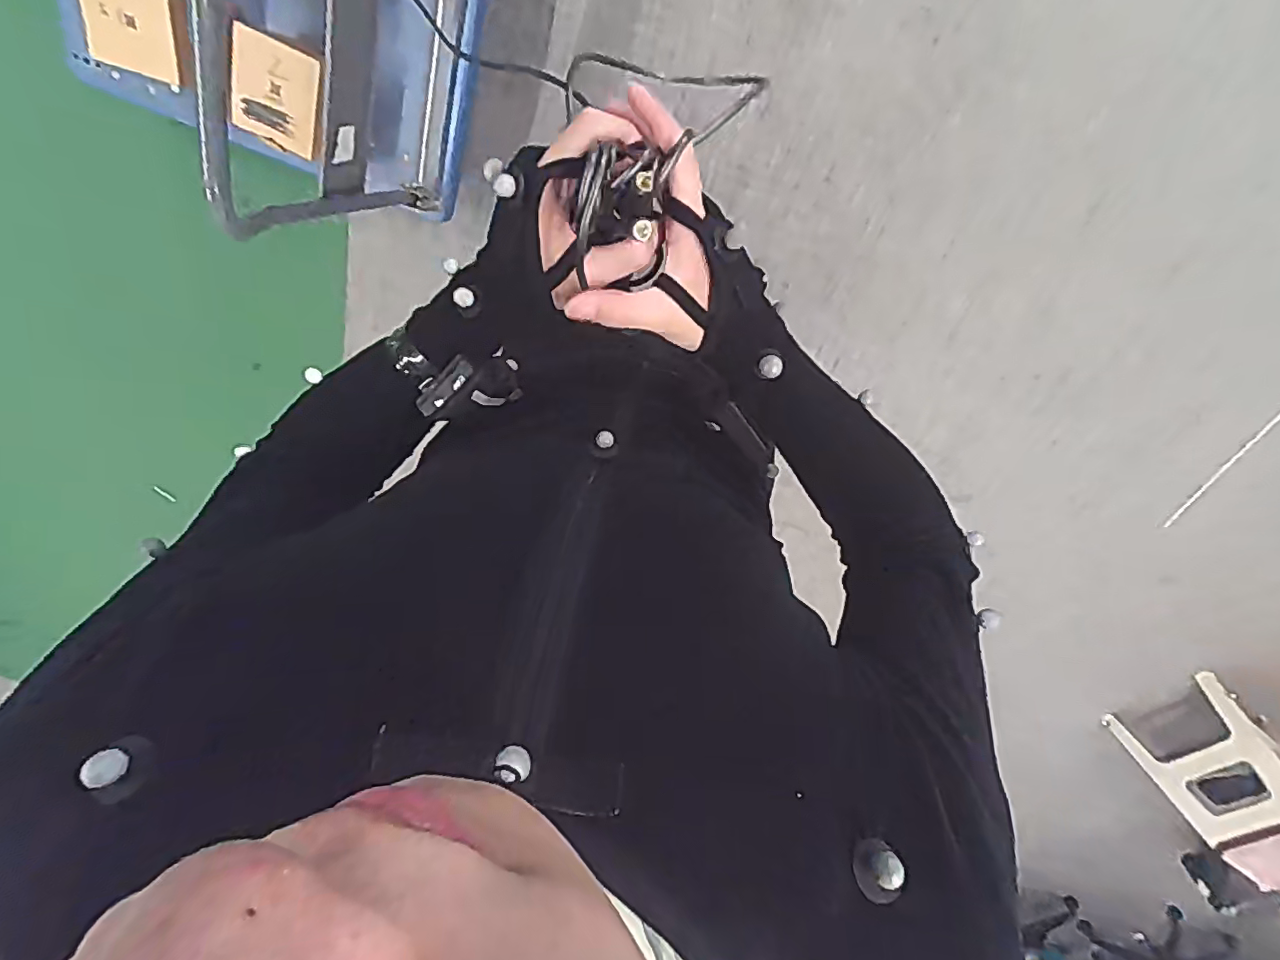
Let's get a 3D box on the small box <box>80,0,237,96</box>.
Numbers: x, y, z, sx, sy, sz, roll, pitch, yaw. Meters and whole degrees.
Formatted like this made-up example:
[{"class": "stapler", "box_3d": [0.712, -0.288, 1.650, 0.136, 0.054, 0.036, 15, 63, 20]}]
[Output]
[{"class": "small box", "box_3d": [-0.938, -0.884, 1.069, 0.179, 0.176, 0.168, 17, 120, -2]}]
